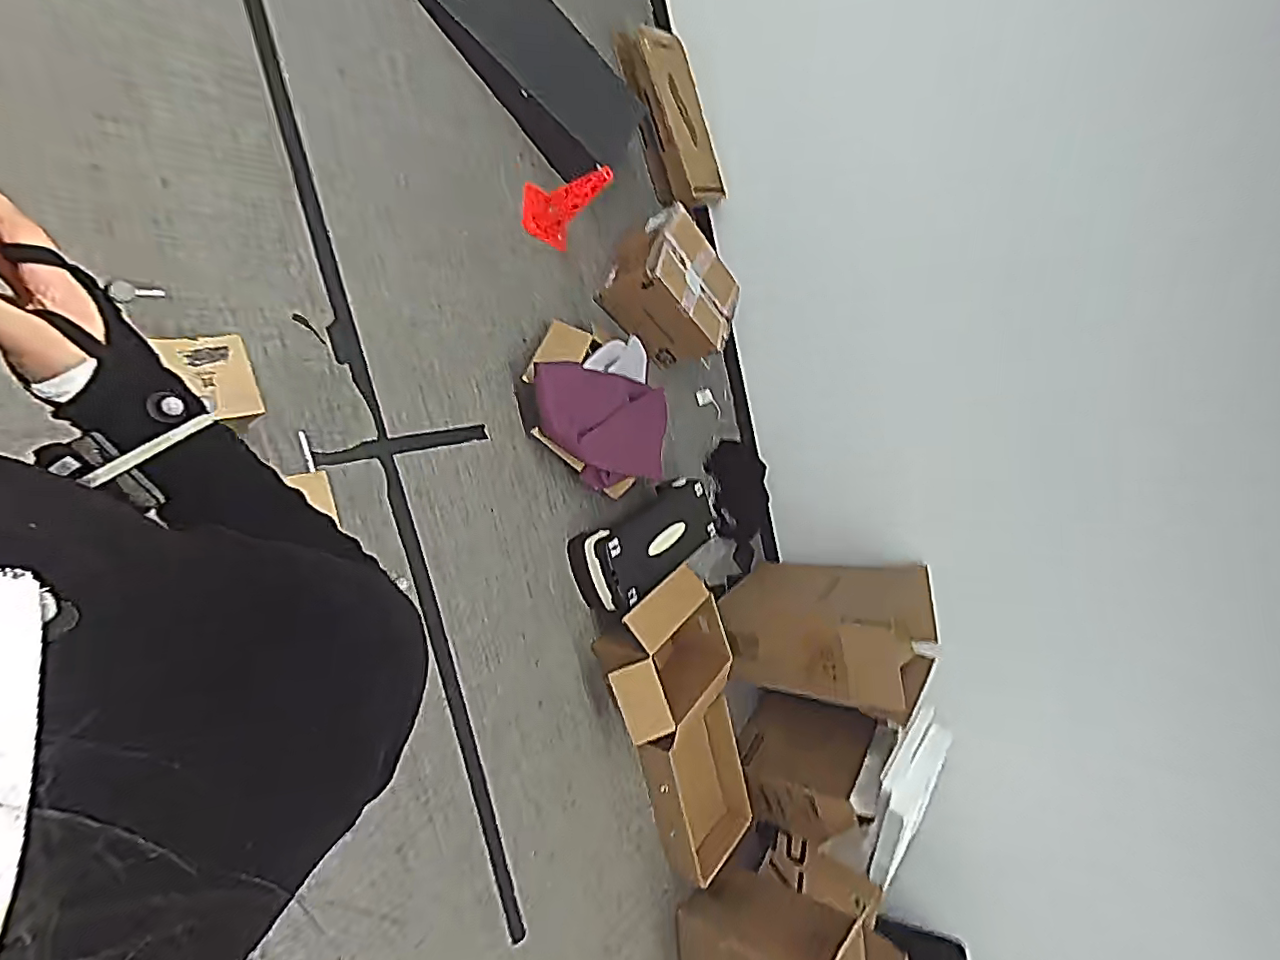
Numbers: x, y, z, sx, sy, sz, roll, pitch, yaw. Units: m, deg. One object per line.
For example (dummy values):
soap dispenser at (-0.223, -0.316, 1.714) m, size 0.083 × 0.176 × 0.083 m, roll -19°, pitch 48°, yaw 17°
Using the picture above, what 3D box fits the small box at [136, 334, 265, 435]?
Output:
small box at (-0.955, -0.206, 1.173) m, size 0.168 × 0.176 × 0.179 m, roll -21°, pitch 101°, yaw -47°
